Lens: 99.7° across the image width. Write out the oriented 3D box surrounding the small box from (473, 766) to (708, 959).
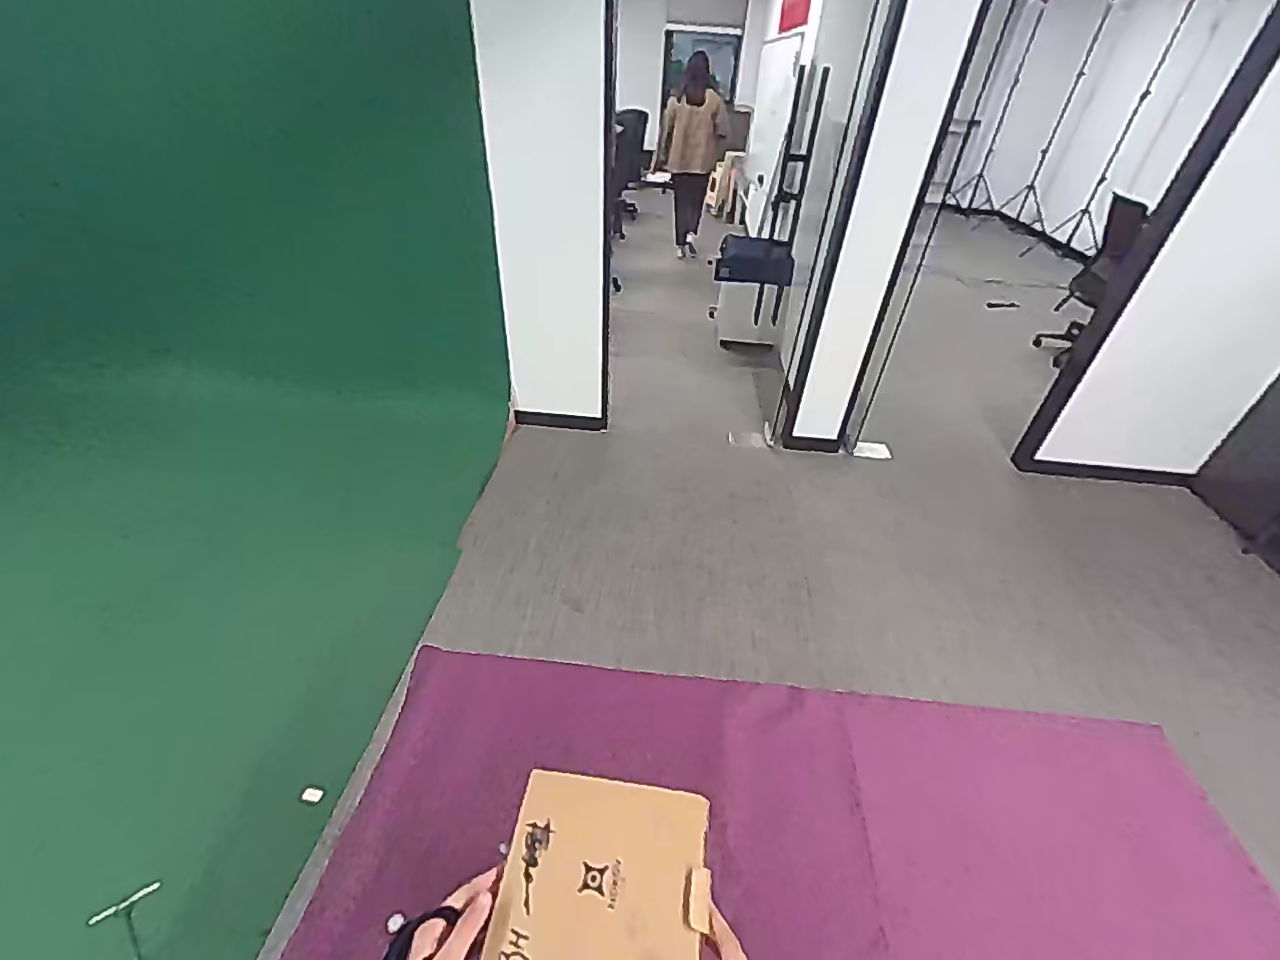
[{"bbox_3d":[-0.037,0.407,0.517,0.179,0.176,0.168,8,39,6],"label":"small box"}]
